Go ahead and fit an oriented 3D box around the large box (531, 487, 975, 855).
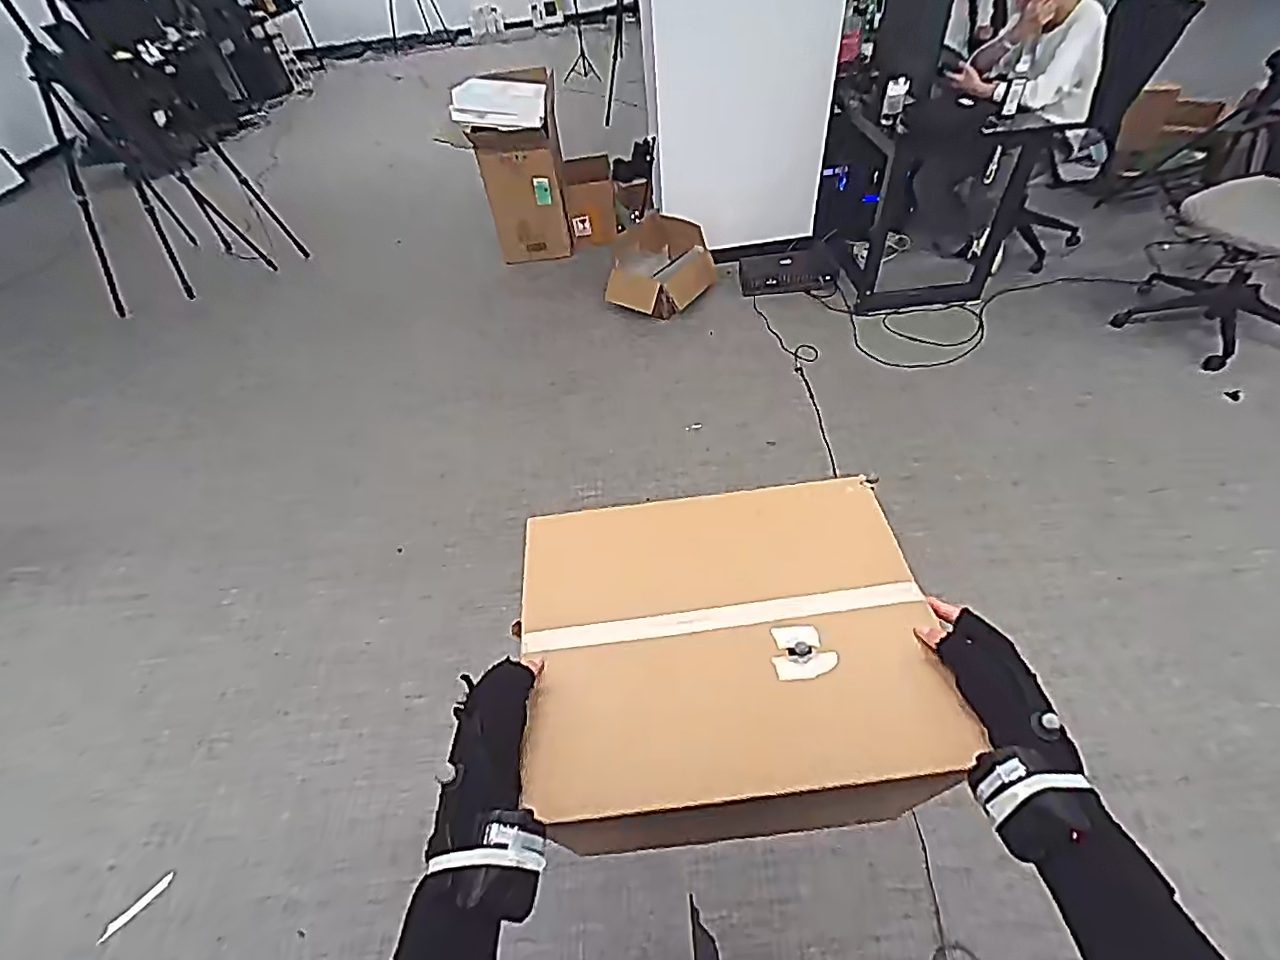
[{"bbox_3d":[0.093,0.245,0.678,0.408,0.320,0.320,-7,51,-1],"label":"large box"}]
